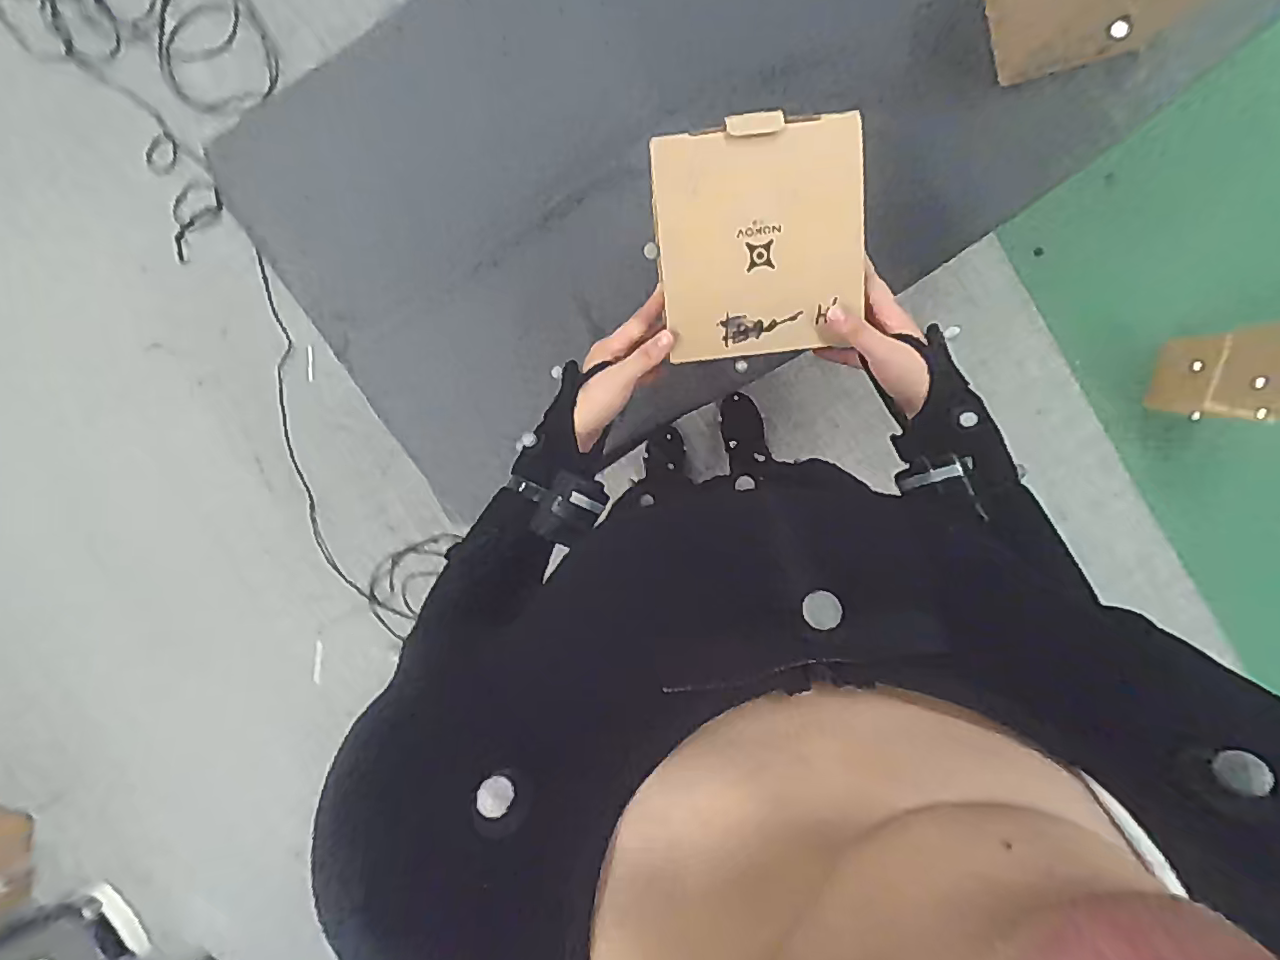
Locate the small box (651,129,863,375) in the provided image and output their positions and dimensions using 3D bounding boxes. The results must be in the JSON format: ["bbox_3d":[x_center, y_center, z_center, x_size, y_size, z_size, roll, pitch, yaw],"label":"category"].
[{"bbox_3d":[0.098,-0.197,0.512,0.168,0.176,0.179,-5,104,3],"label":"small box"}]

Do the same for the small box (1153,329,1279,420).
[{"bbox_3d":[1.381,-0.244,1.278,0.168,0.176,0.179,12,98,2],"label":"small box"}]
